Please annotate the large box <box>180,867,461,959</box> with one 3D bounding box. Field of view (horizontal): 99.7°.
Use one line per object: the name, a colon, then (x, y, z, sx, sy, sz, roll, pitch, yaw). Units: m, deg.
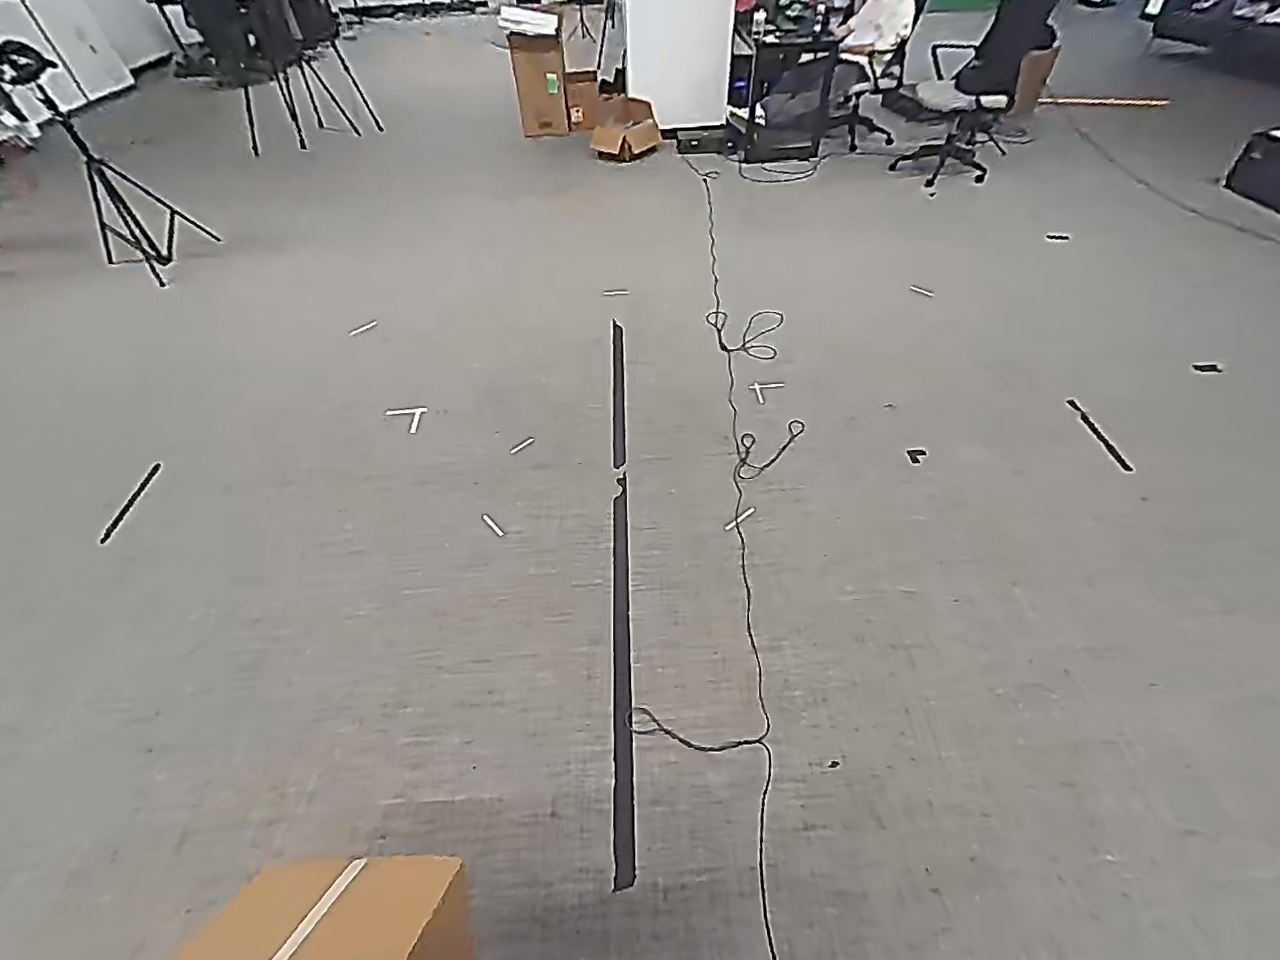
large box: (-0.428, 0.749, 0.632, 0.320, 0.408, 0.320, -6, 92, 5)
